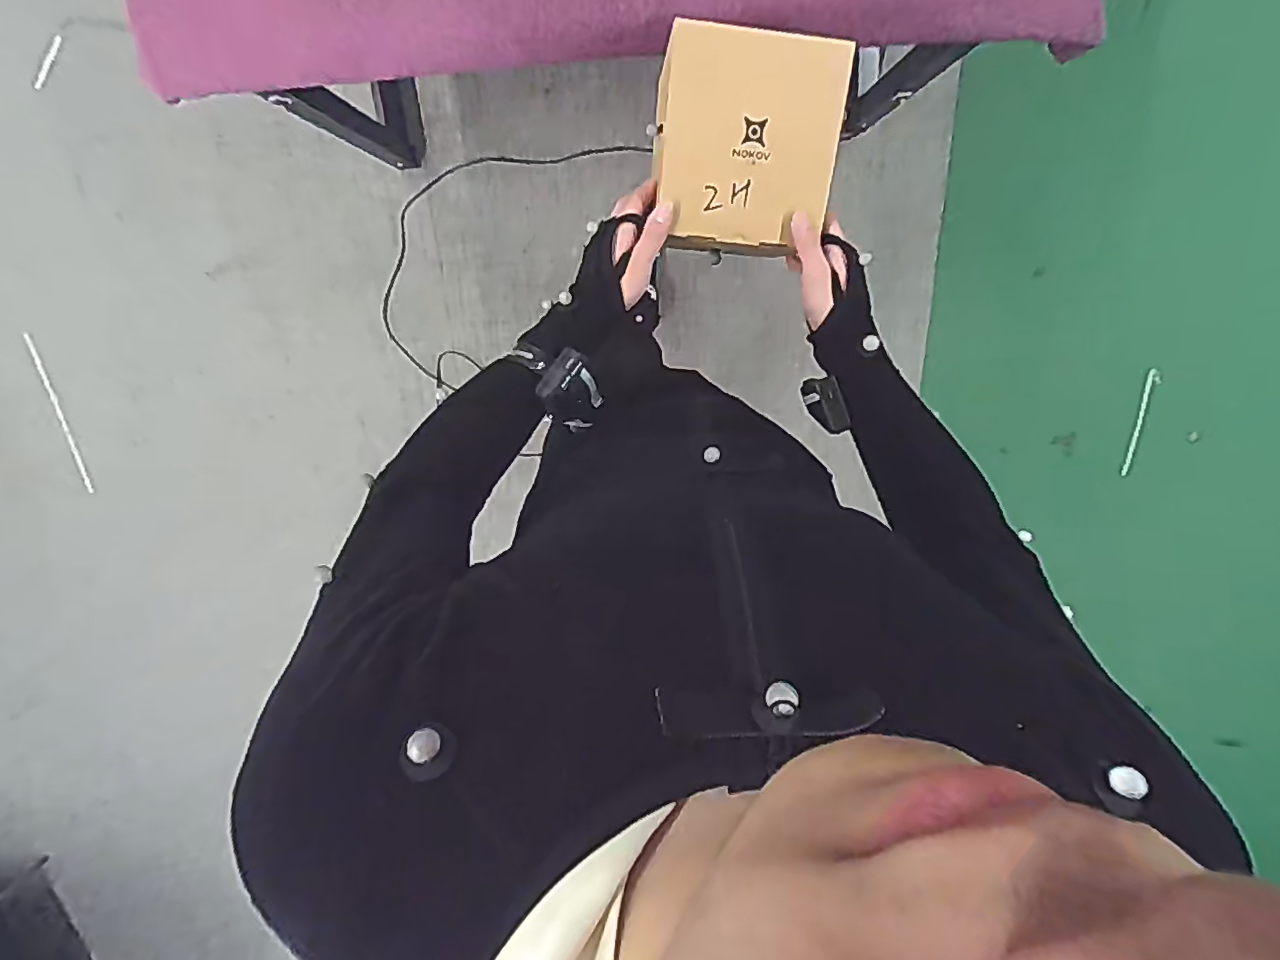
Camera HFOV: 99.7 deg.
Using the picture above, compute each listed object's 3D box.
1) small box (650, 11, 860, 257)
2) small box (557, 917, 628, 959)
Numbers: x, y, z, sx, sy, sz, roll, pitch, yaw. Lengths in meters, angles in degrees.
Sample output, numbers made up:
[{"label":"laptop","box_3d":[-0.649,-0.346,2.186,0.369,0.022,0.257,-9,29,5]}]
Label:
[{"label":"small box","box_3d":[0.103,-0.343,0.575,0.168,0.176,0.179,5,110,-4]},{"label":"small box","box_3d":[-0.118,1.232,1.346,0.179,0.176,0.168,1,107,1]}]
